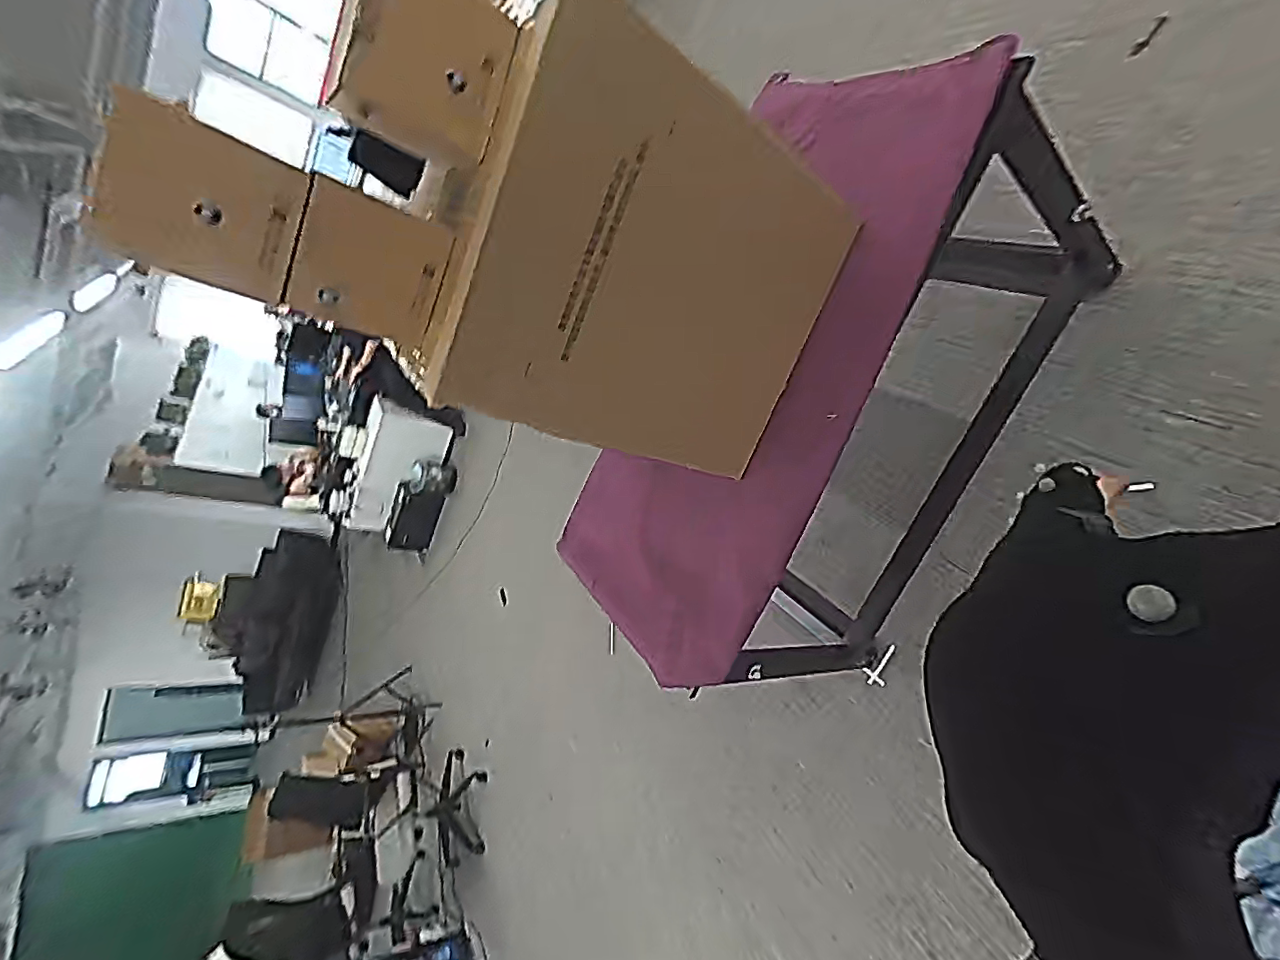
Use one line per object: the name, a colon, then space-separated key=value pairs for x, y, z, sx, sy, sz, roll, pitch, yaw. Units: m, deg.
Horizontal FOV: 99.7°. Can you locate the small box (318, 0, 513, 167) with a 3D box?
small box: x=-0.284 y=-0.517 z=0.678 sx=0.179 sy=0.176 sz=0.168 roll=35 pitch=109 yaw=49

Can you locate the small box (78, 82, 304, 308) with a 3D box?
small box: x=-0.510 y=-0.316 z=0.635 sx=0.179 sy=0.176 sz=0.168 roll=33 pitch=105 yaw=50
